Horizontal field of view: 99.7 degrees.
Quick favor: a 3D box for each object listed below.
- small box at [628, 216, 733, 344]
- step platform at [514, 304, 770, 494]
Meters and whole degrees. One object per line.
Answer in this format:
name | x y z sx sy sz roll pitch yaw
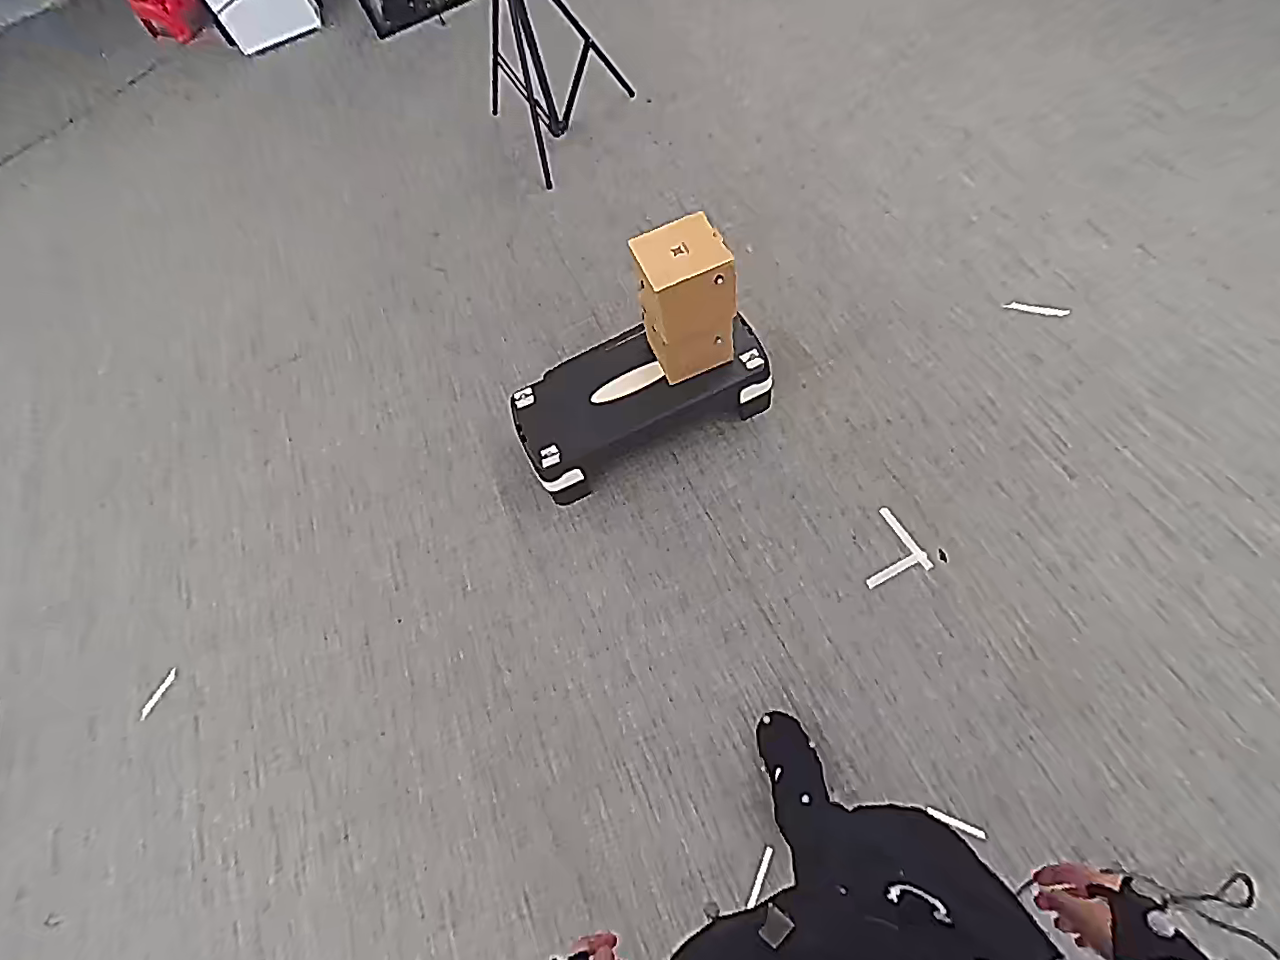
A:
small box | 0.094 -0.429 1.180 0.179 0.176 0.168 -23 63 -2
step platform | 0.004 -0.238 1.484 0.684 0.204 0.286 -26 63 -2
